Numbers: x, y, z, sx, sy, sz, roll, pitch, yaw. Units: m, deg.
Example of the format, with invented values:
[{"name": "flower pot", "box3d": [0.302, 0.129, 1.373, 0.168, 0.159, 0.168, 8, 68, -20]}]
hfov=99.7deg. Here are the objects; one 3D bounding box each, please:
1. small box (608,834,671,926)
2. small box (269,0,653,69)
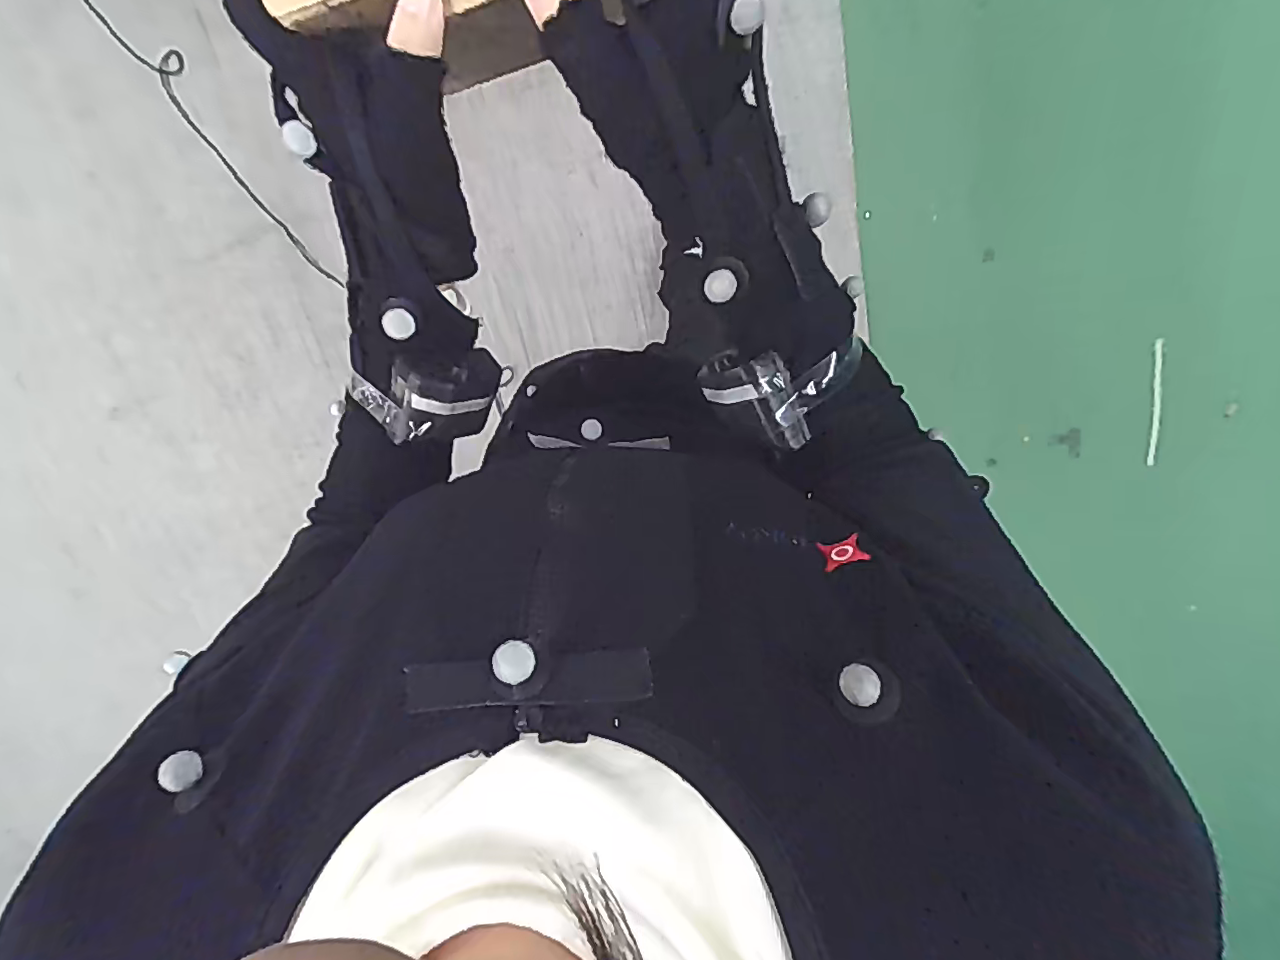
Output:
[{"name": "small box", "box3d": [0.001, 1.271, 1.725, 0.179, 0.176, 0.168, -8, 108, 2]}, {"name": "small box", "box3d": [-0.088, -0.319, 0.244, 0.168, 0.176, 0.179, -11, 114, 10]}]
